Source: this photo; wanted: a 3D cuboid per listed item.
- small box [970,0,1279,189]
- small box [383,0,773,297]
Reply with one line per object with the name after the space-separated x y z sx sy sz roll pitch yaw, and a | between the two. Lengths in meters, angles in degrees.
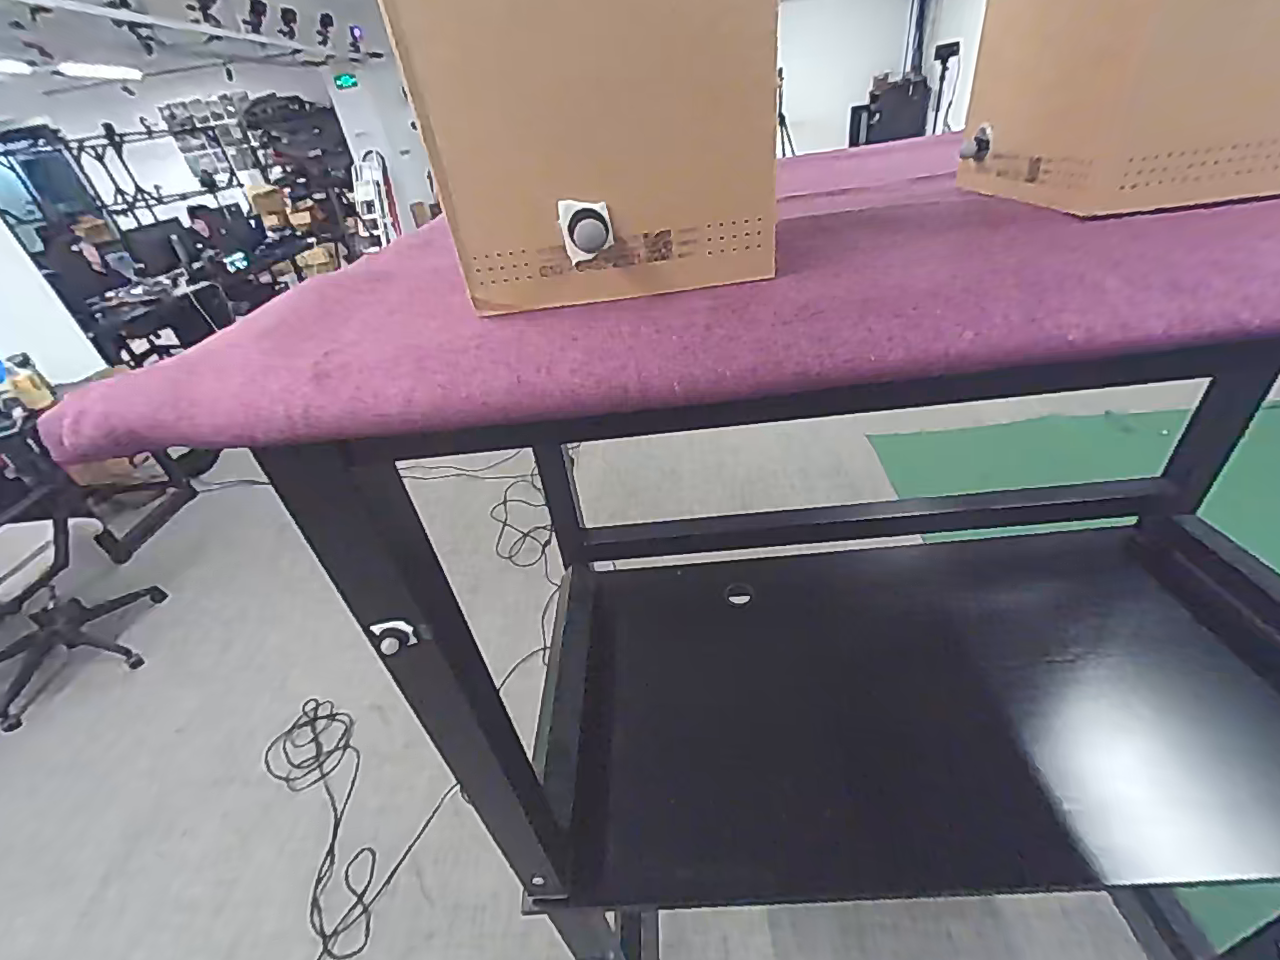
0.319 -0.275 0.309 0.179 0.176 0.168 -5 34 5 | small box
-0.027 -0.217 0.306 0.168 0.176 0.179 -9 36 2 | small box
